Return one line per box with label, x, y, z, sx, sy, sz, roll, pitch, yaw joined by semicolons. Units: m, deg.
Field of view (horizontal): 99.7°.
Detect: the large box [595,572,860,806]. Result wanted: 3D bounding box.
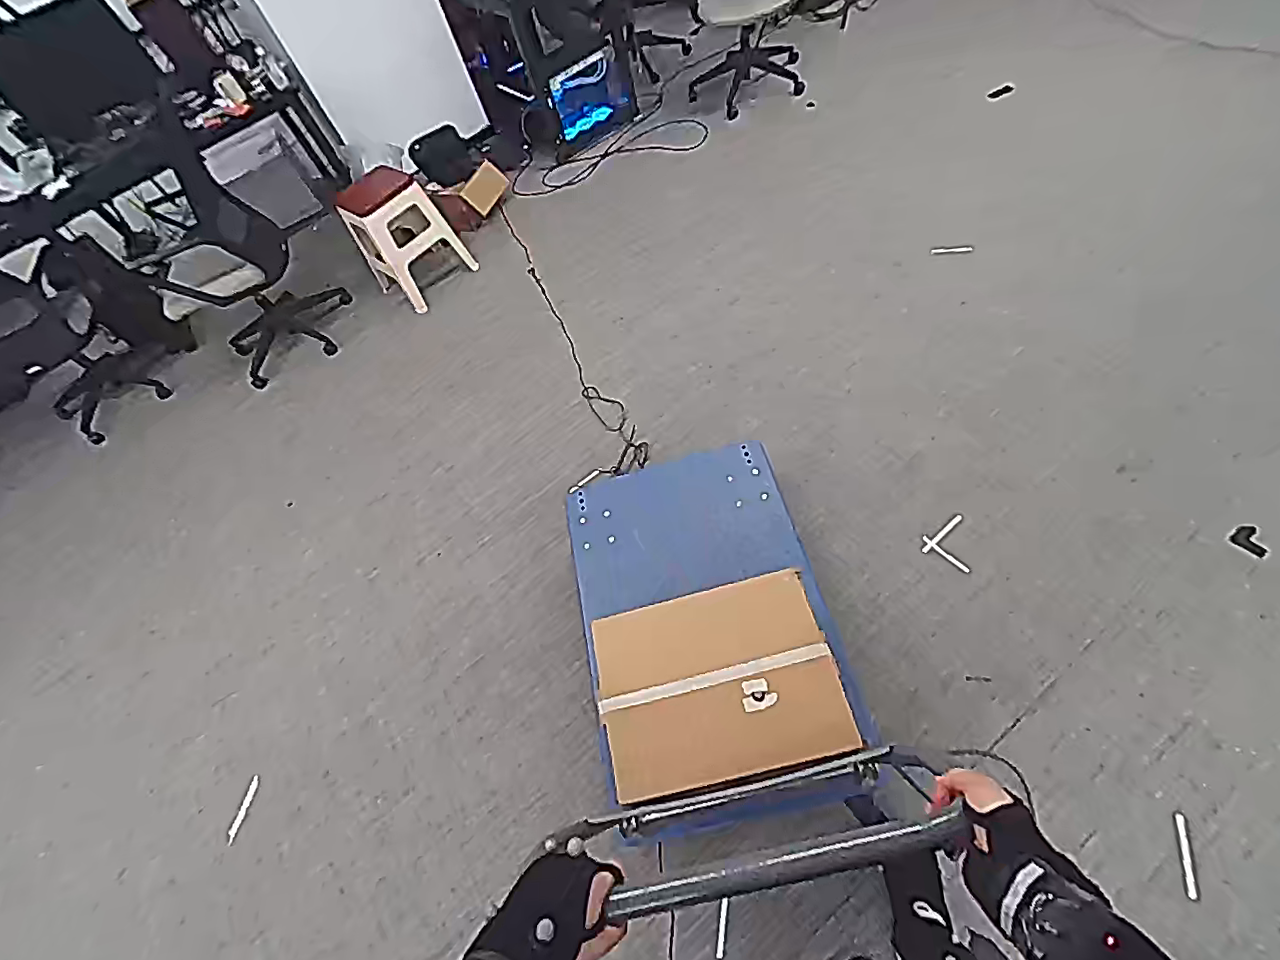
large box;0.161;0.428;1.077;0.408;0.320;0.320;-16;58;3
